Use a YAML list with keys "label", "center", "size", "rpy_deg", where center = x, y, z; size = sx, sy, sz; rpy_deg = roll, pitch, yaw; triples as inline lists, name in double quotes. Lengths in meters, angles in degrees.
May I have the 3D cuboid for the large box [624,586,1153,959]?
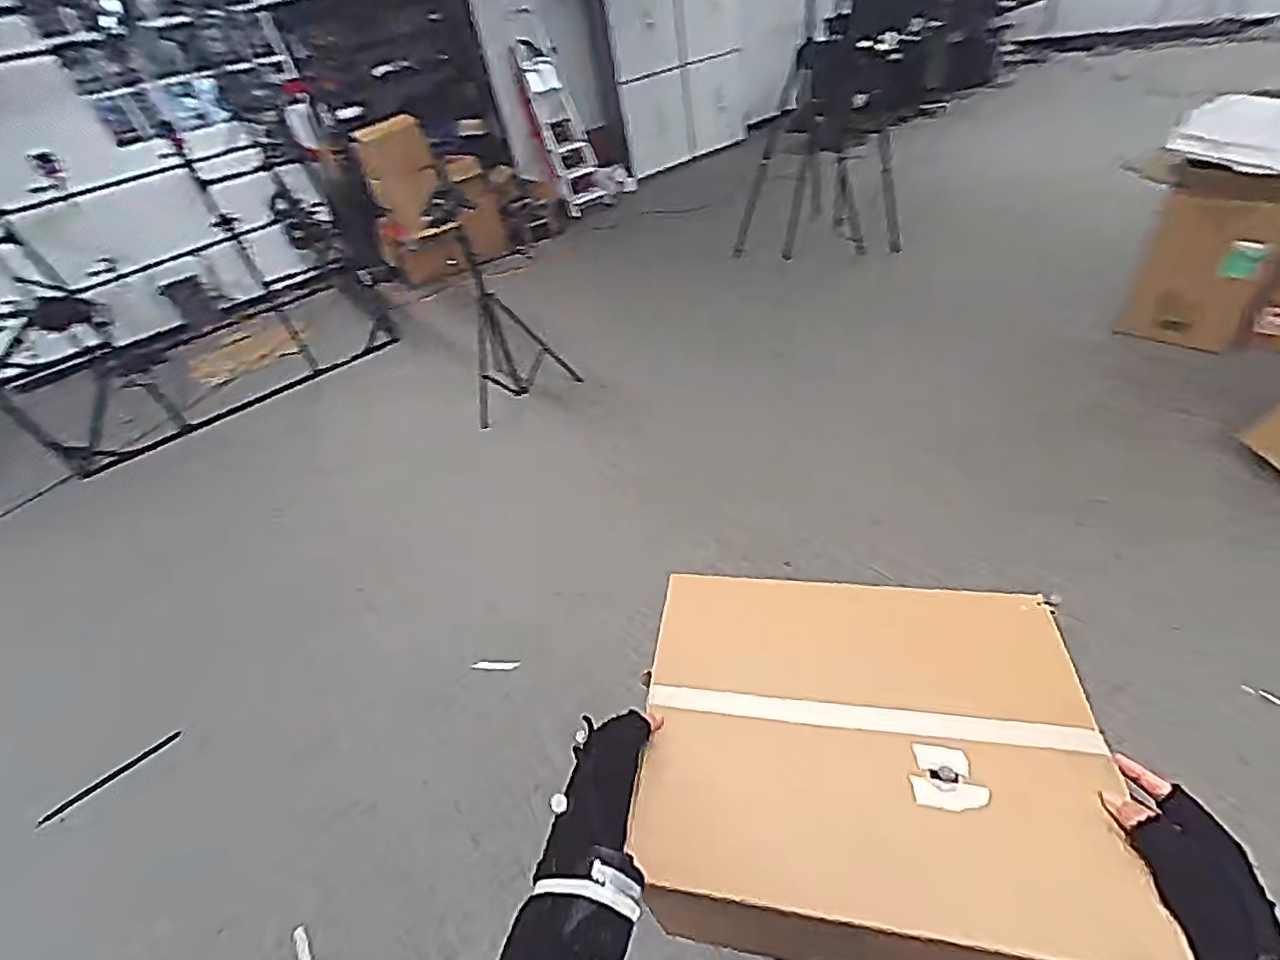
- label: "large box"
  center: [0.219, 0.345, 0.632]
  size: [0.408, 0.320, 0.320]
  rpy_deg: [0, 44, 12]
